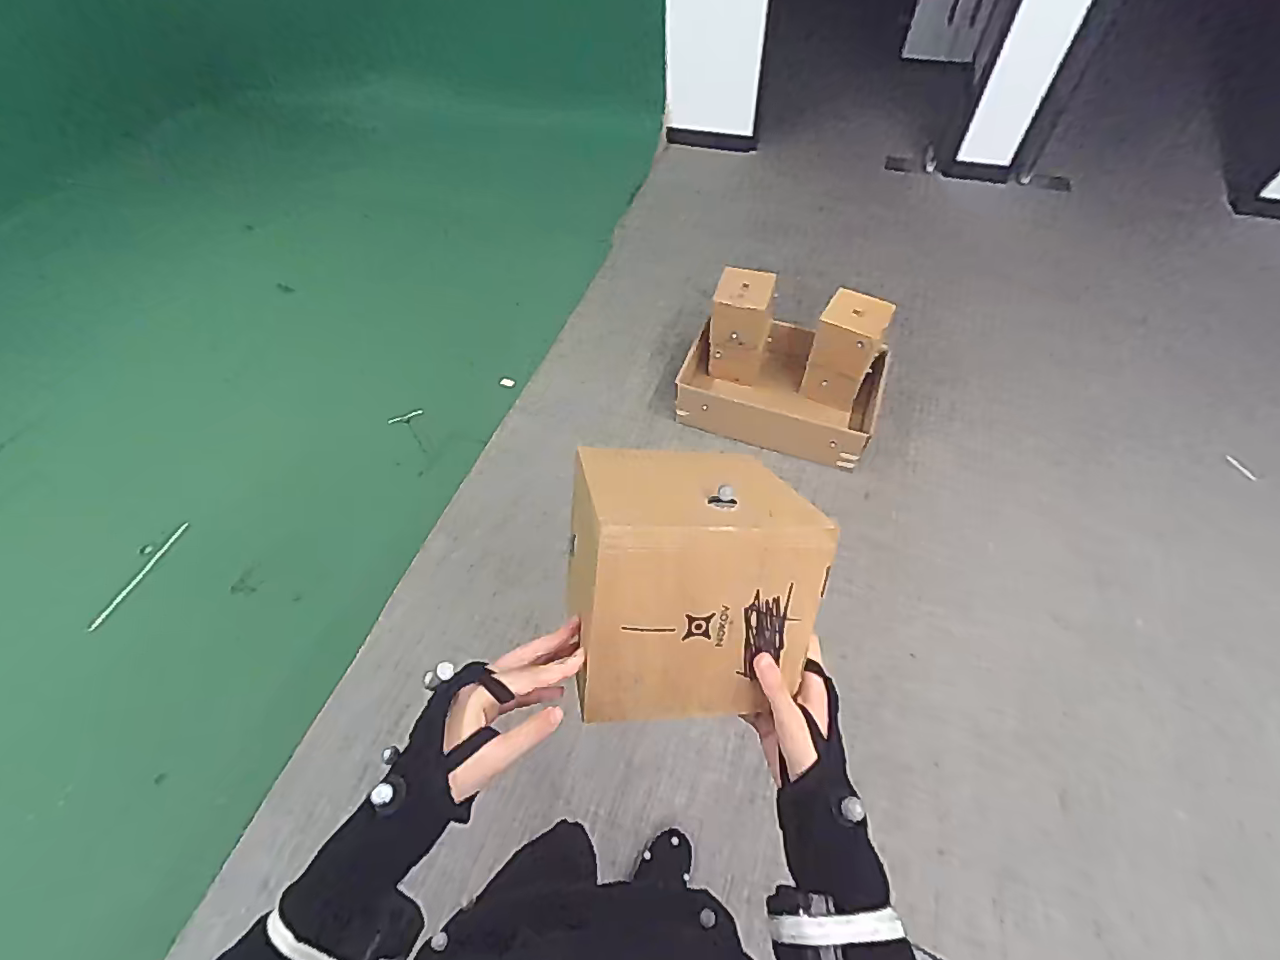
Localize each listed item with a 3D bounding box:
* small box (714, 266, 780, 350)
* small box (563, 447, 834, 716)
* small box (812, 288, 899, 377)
[{"bbox_3d":[0.333,-0.545,1.717,0.168,0.176,0.179,14,60,14],"label":"small box"},{"bbox_3d":[0.031,0.075,0.468,0.179,0.168,0.176,3,20,-12],"label":"small box"},{"bbox_3d":[0.643,-0.440,1.633,0.179,0.176,0.168,28,64,19],"label":"small box"}]
